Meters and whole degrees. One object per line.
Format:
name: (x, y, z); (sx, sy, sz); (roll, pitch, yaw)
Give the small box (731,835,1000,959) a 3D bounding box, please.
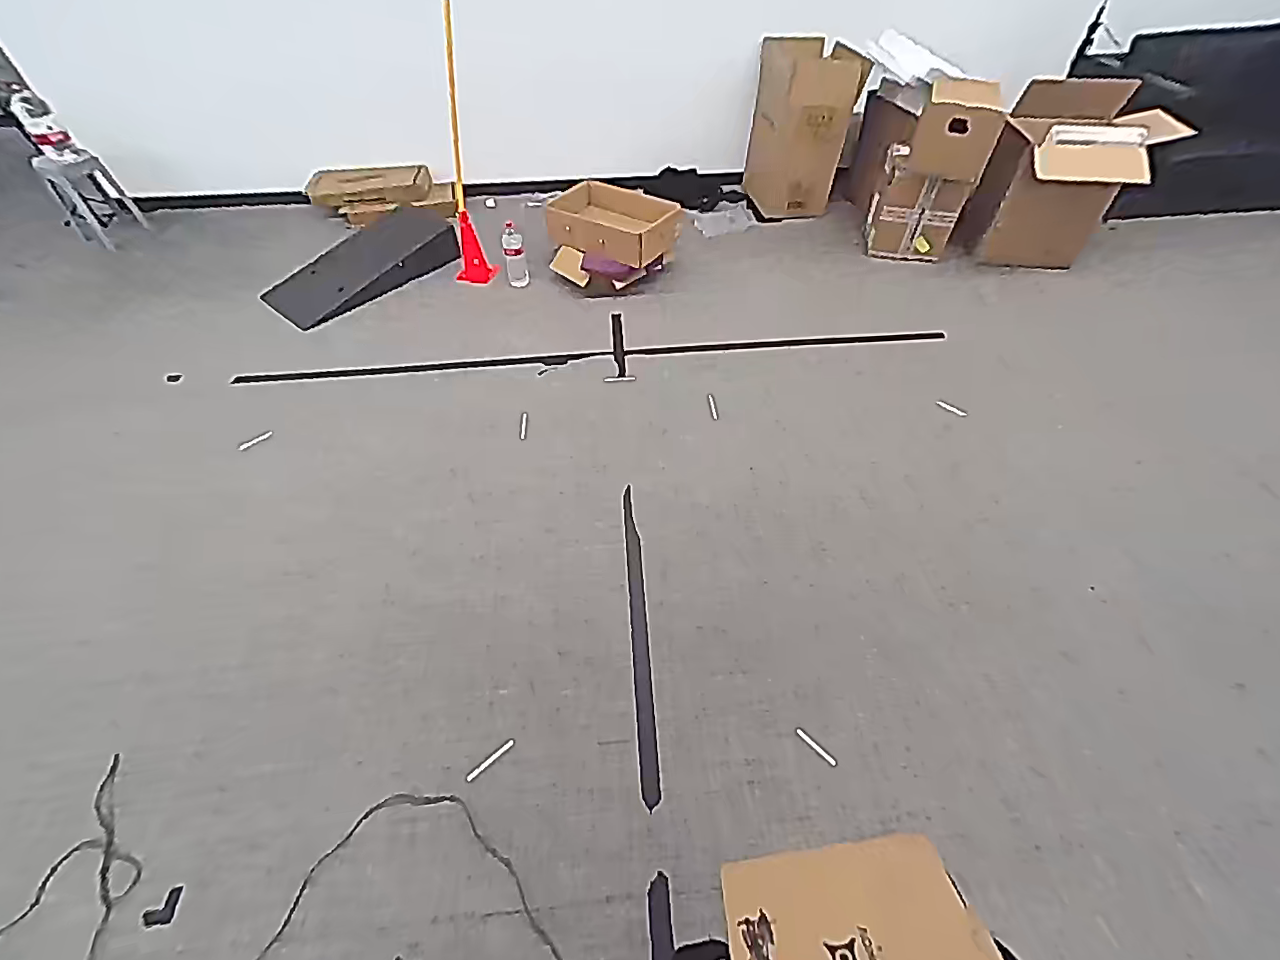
small box: (0.176, 0.411, 0.403); (0.179, 0.176, 0.168); (-12, 14, 5)
